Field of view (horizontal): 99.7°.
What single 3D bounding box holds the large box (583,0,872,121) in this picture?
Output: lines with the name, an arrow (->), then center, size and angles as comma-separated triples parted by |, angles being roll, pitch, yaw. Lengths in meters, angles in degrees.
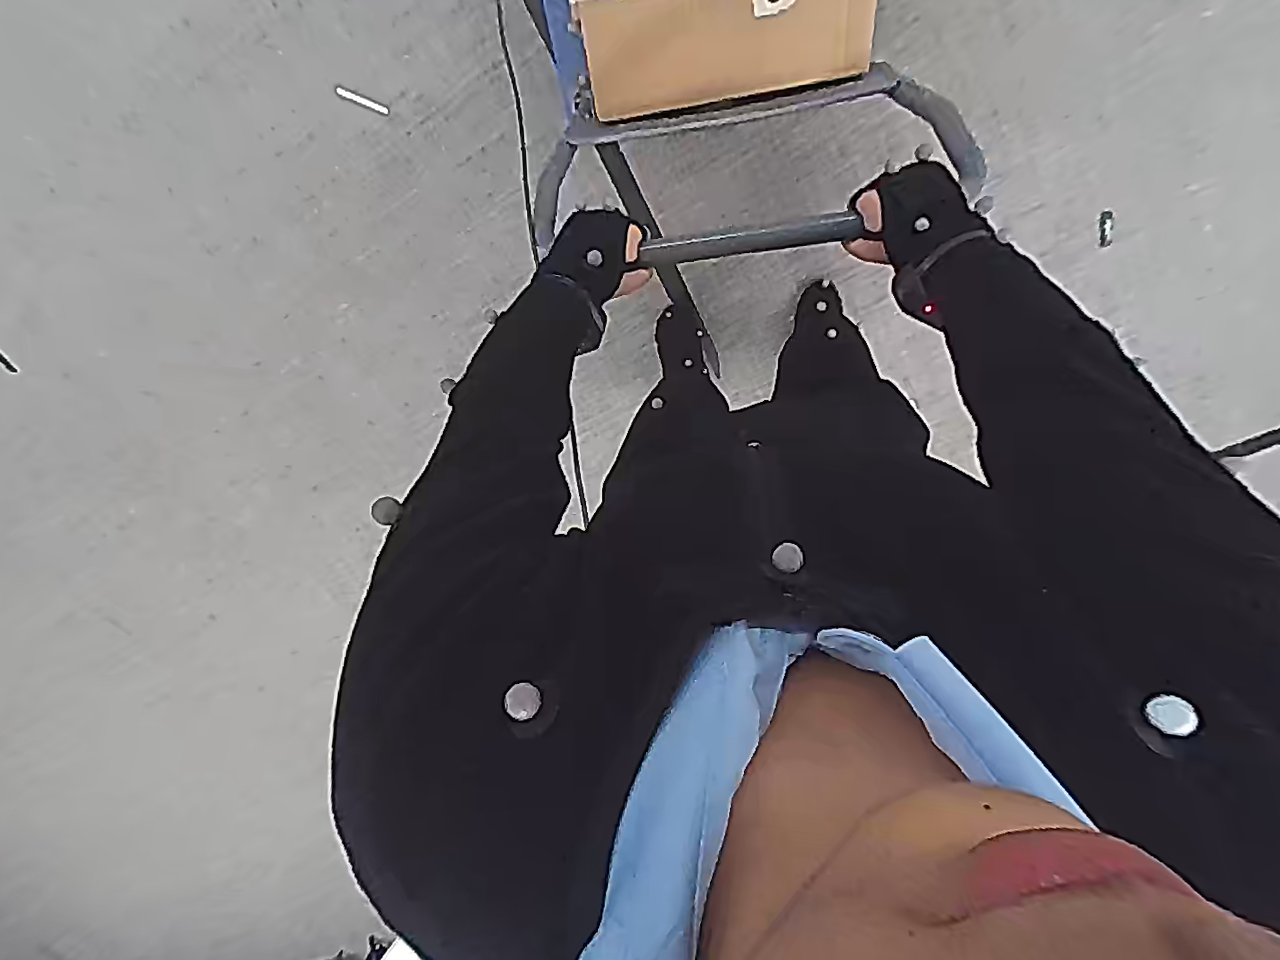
large box -> 0.115, -0.797, 0.837 | 0.408, 0.320, 0.320 | -6, 131, 8
